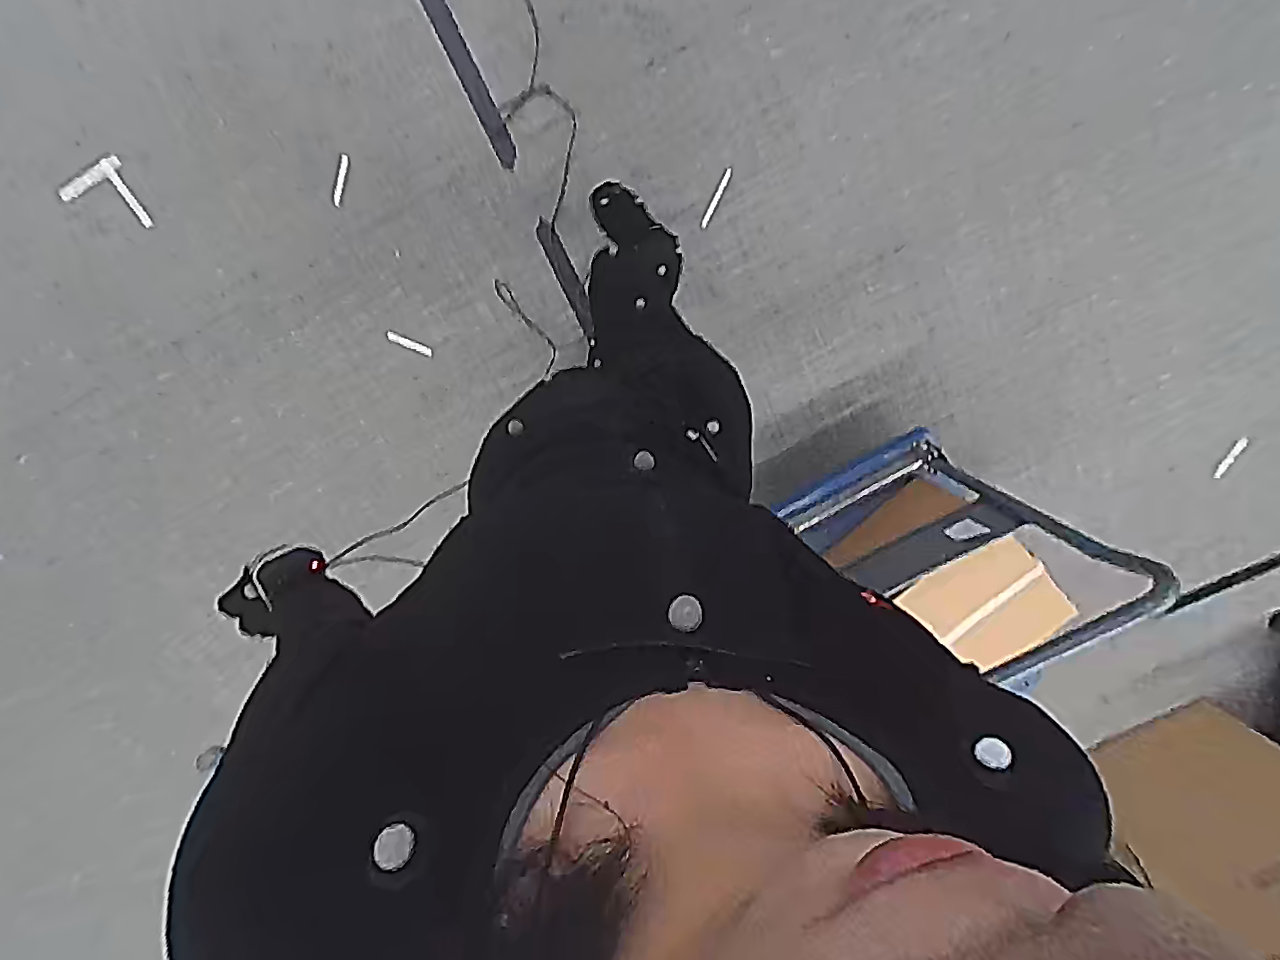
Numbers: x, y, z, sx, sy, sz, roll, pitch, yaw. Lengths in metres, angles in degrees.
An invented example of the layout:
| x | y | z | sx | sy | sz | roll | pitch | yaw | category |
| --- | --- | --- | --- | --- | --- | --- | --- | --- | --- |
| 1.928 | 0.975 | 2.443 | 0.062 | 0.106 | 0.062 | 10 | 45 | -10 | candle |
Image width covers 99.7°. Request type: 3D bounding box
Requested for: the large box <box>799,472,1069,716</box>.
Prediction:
| x | y | z | sx | sy | sz | roll | pitch | yaw | category |
| --- | --- | --- | --- | --- | --- | --- | --- | --- | --- |
| 0.664 | 0.254 | 1.289 | 0.320 | 0.320 | 0.408 | 43 | 102 | -12 | large box |
